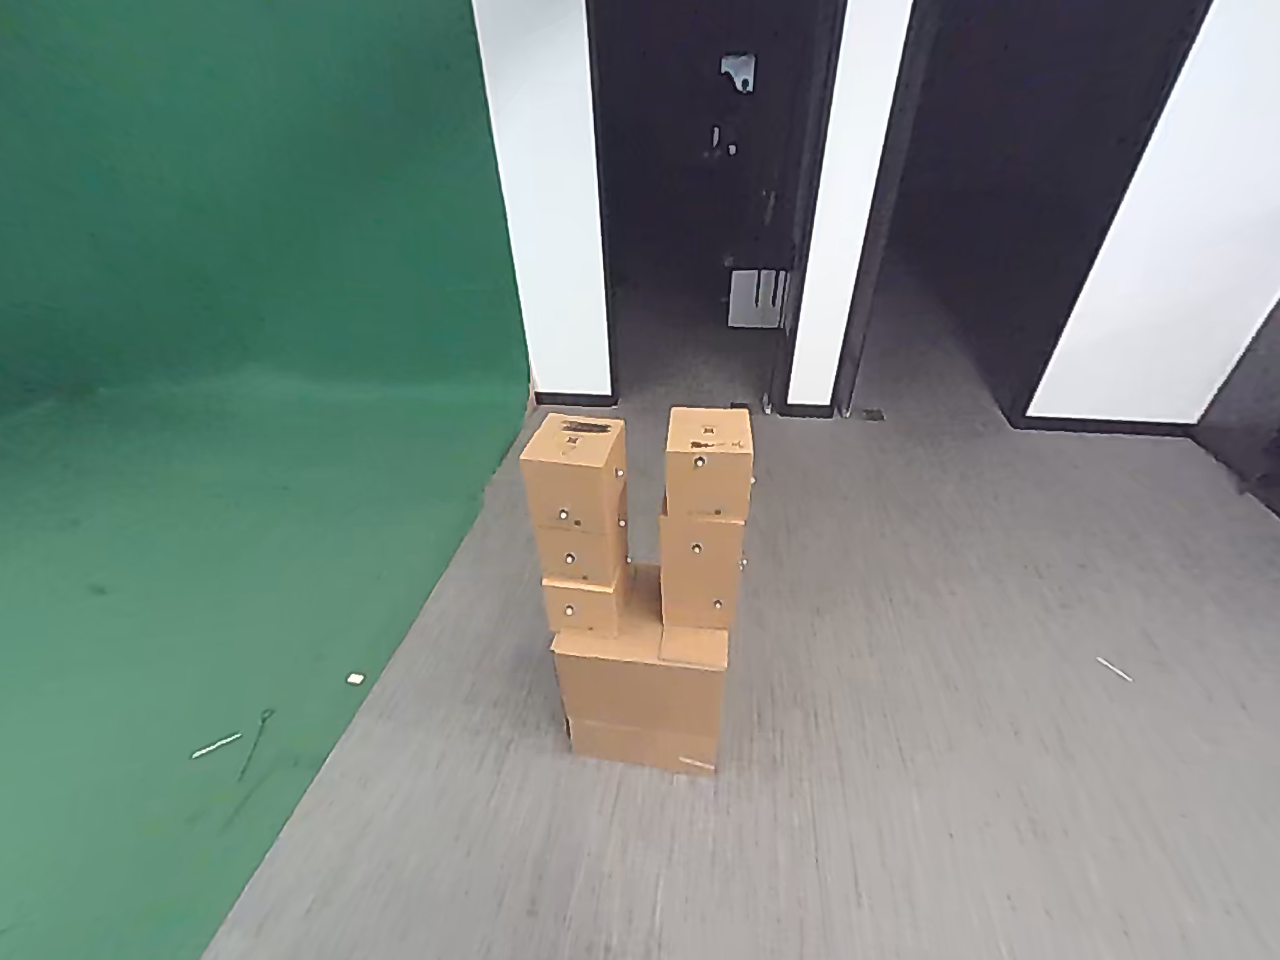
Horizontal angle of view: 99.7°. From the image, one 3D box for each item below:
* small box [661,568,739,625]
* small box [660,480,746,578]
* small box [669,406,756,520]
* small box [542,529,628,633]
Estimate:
[{"bbox_3d":[0.146,0.233,1.312,0.179,0.176,0.168,3,36,8],"label":"small box"},{"bbox_3d":[0.143,0.102,1.214,0.179,0.176,0.168,3,36,9],"label":"small box"},{"bbox_3d":[0.148,-0.038,1.126,0.168,0.176,0.179,2,36,7],"label":"small box"},{"bbox_3d":[-0.123,0.244,1.303,0.168,0.176,0.179,6,37,8],"label":"small box"}]
